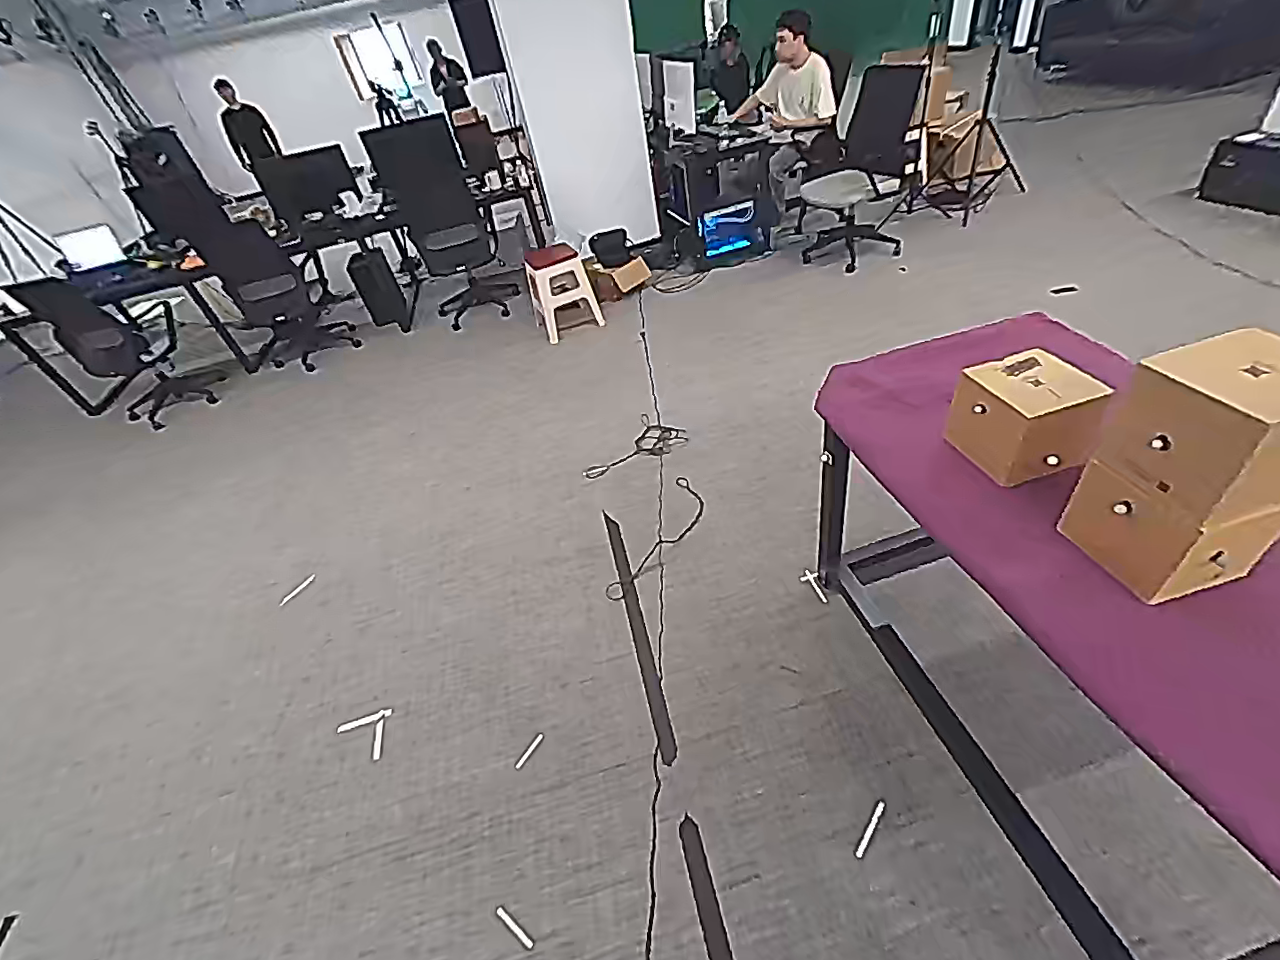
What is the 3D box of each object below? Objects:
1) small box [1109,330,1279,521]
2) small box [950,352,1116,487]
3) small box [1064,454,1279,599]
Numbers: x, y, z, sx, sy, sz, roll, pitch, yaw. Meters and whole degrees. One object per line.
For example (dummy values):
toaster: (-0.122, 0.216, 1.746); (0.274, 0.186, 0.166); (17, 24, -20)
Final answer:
small box: (0.779, -0.070, 0.716); (0.179, 0.176, 0.168); (-16, 40, -3)
small box: (0.730, -0.116, 1.032); (0.168, 0.176, 0.179); (-17, 41, -3)
small box: (0.803, 0.058, 0.818); (0.168, 0.176, 0.179); (-16, 40, -3)
